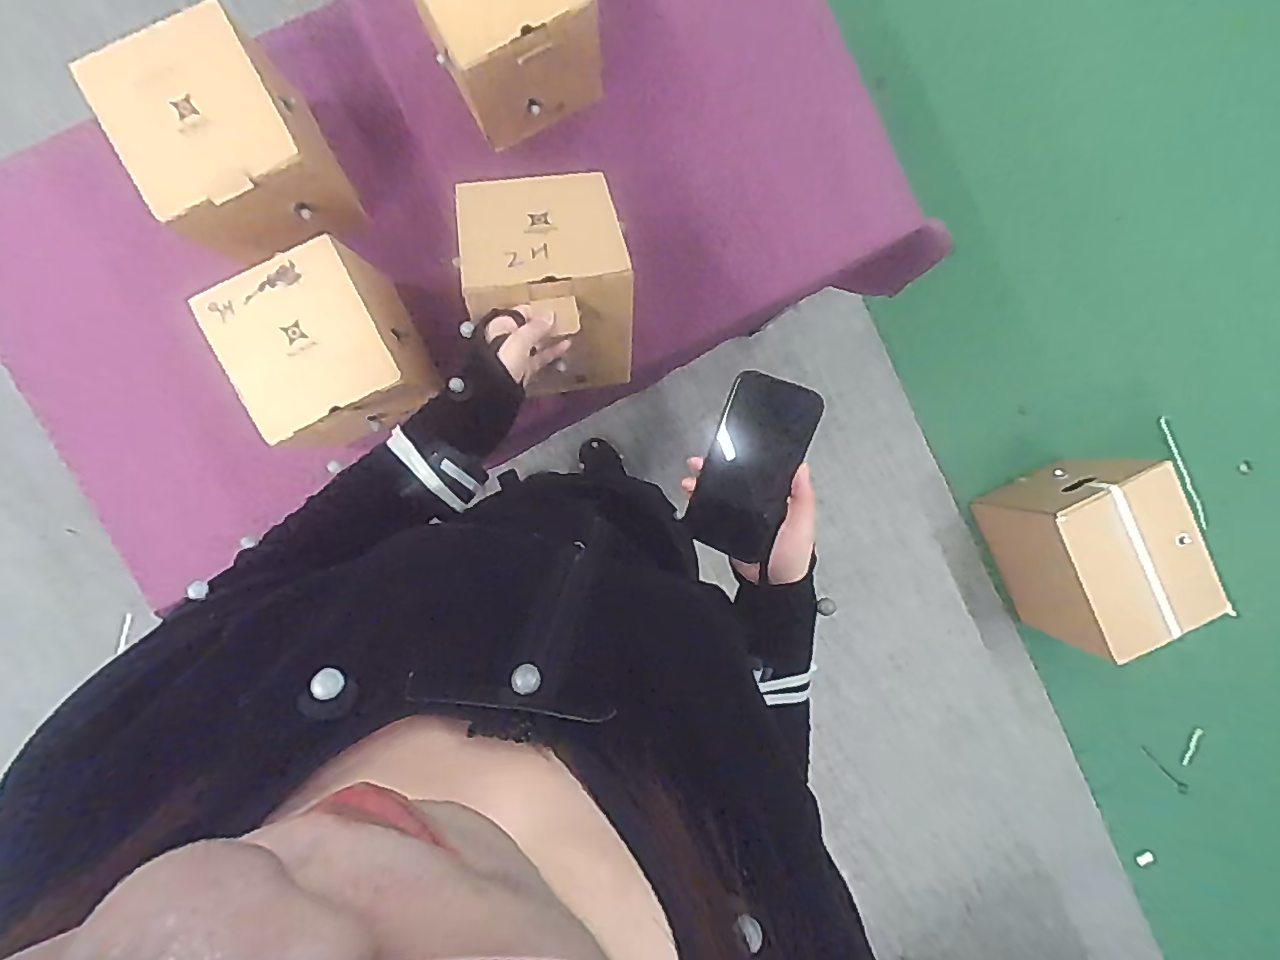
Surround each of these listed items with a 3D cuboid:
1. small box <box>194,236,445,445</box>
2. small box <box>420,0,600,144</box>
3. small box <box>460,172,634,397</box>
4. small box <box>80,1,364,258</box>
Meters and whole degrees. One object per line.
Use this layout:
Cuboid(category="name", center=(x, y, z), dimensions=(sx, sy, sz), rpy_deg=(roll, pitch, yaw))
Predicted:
Cuboid(category="small box", center=(-0.367, -0.156, 0.660), dimensions=(0.168, 0.176, 0.179), rpy_deg=(-26, 95, -2))
Cuboid(category="small box", center=(-0.159, -0.554, 0.643), dimensions=(0.168, 0.176, 0.179), rpy_deg=(-29, 96, 0))
Cuboid(category="small box", center=(-0.105, -0.222, 0.629), dimensions=(0.168, 0.176, 0.179), rpy_deg=(-10, 61, -7))
Cuboid(category="small box", center=(-0.467, -0.387, 0.639), dimensions=(0.168, 0.176, 0.179), rpy_deg=(-27, 95, -2))
